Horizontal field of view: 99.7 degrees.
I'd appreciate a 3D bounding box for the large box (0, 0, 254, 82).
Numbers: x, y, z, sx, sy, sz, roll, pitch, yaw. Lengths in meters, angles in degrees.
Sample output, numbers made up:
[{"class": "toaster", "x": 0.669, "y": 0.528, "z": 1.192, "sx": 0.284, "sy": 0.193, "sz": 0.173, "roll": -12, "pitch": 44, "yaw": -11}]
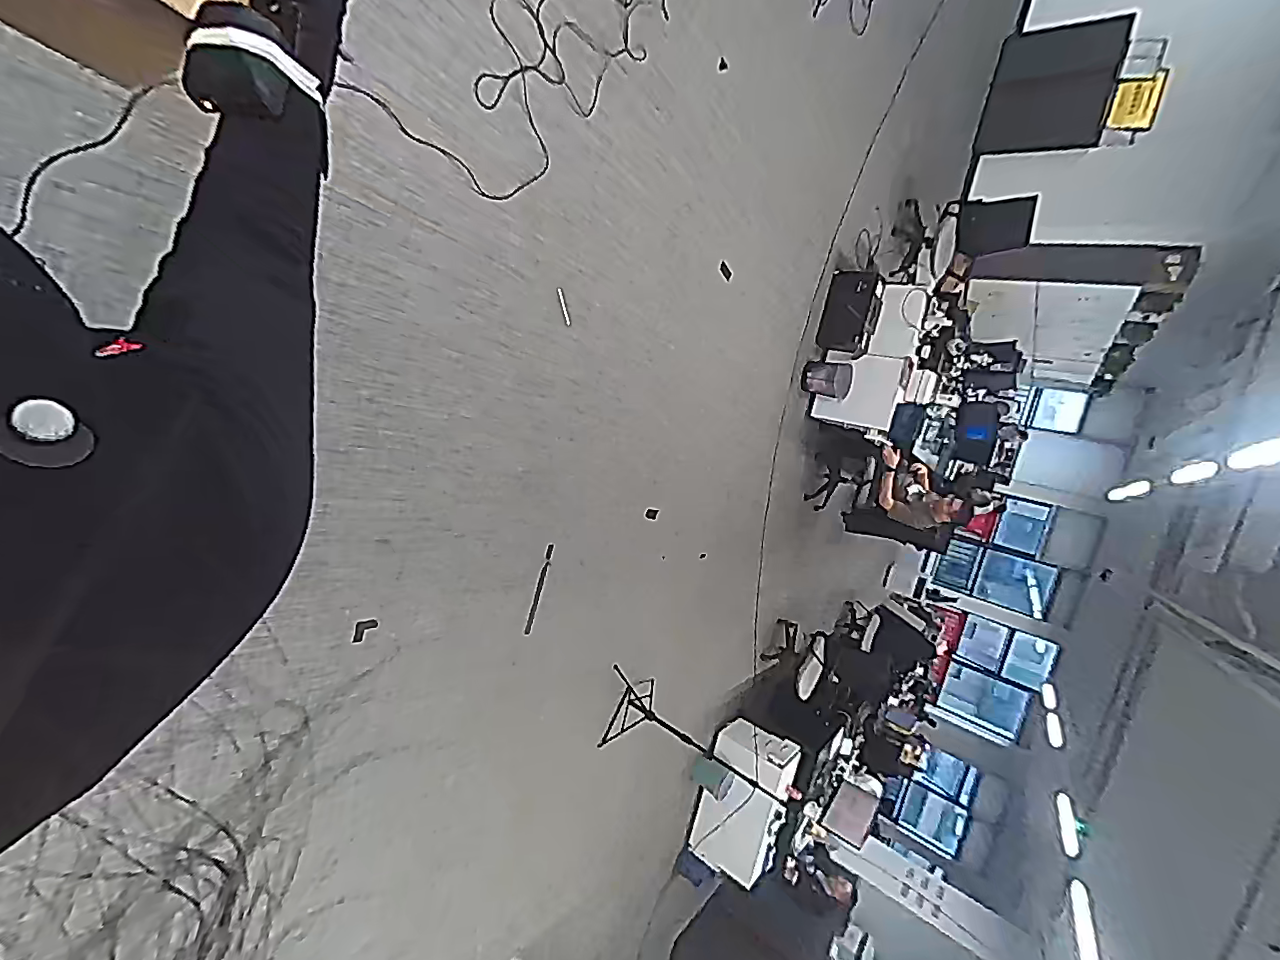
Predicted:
[{"class": "large box", "x": -0.490, "y": -0.539, "z": 0.320, "sx": 0.408, "sy": 0.320, "sz": 0.320, "roll": 11, "pitch": 99, "yaw": -57}]
